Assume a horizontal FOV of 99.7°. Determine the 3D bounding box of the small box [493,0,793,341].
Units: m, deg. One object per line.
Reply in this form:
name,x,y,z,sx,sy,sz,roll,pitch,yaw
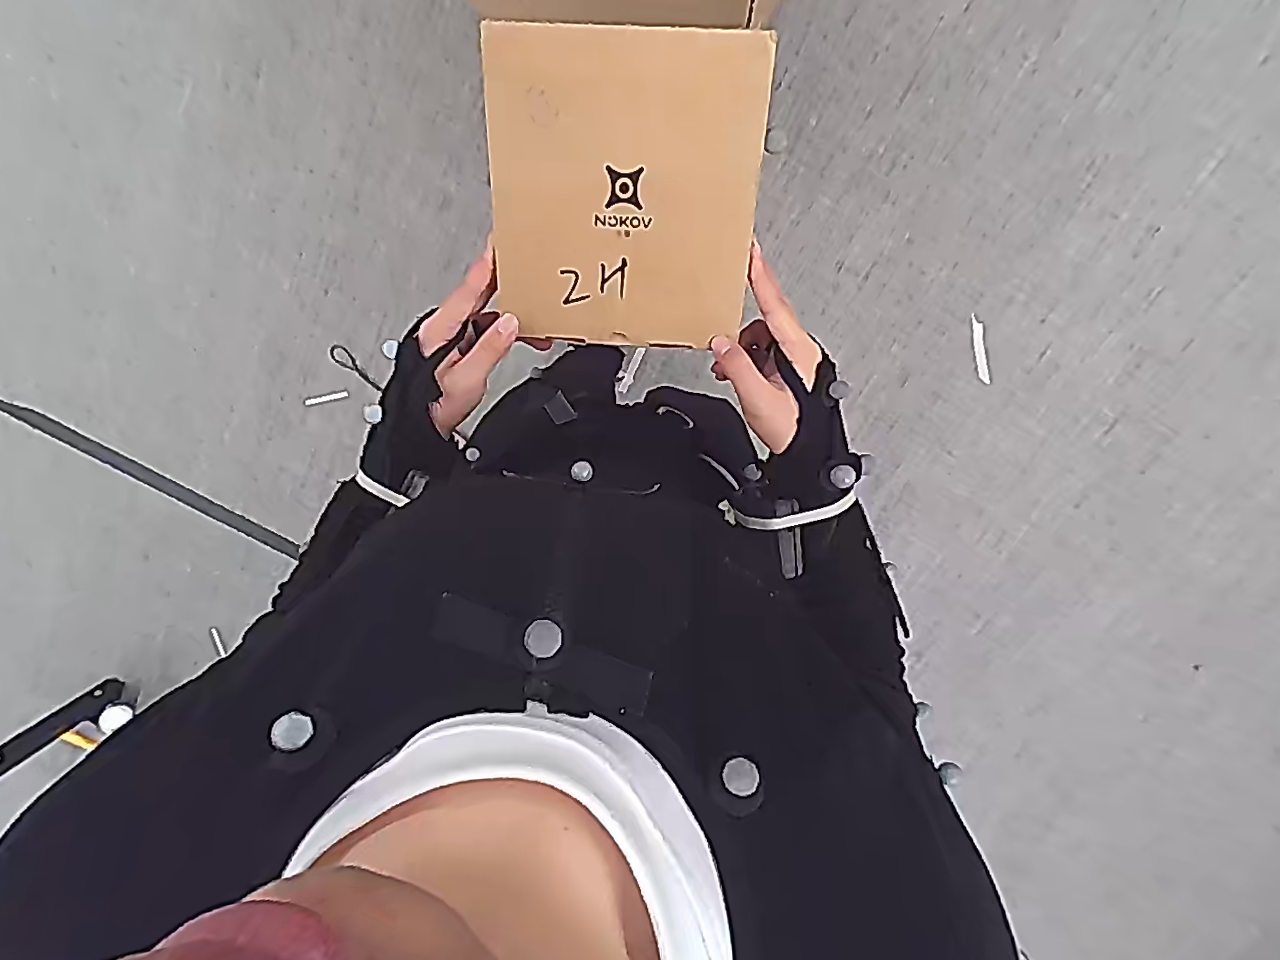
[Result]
small box,0.000,-0.211,0.395,0.168,0.176,0.179,6,116,3
